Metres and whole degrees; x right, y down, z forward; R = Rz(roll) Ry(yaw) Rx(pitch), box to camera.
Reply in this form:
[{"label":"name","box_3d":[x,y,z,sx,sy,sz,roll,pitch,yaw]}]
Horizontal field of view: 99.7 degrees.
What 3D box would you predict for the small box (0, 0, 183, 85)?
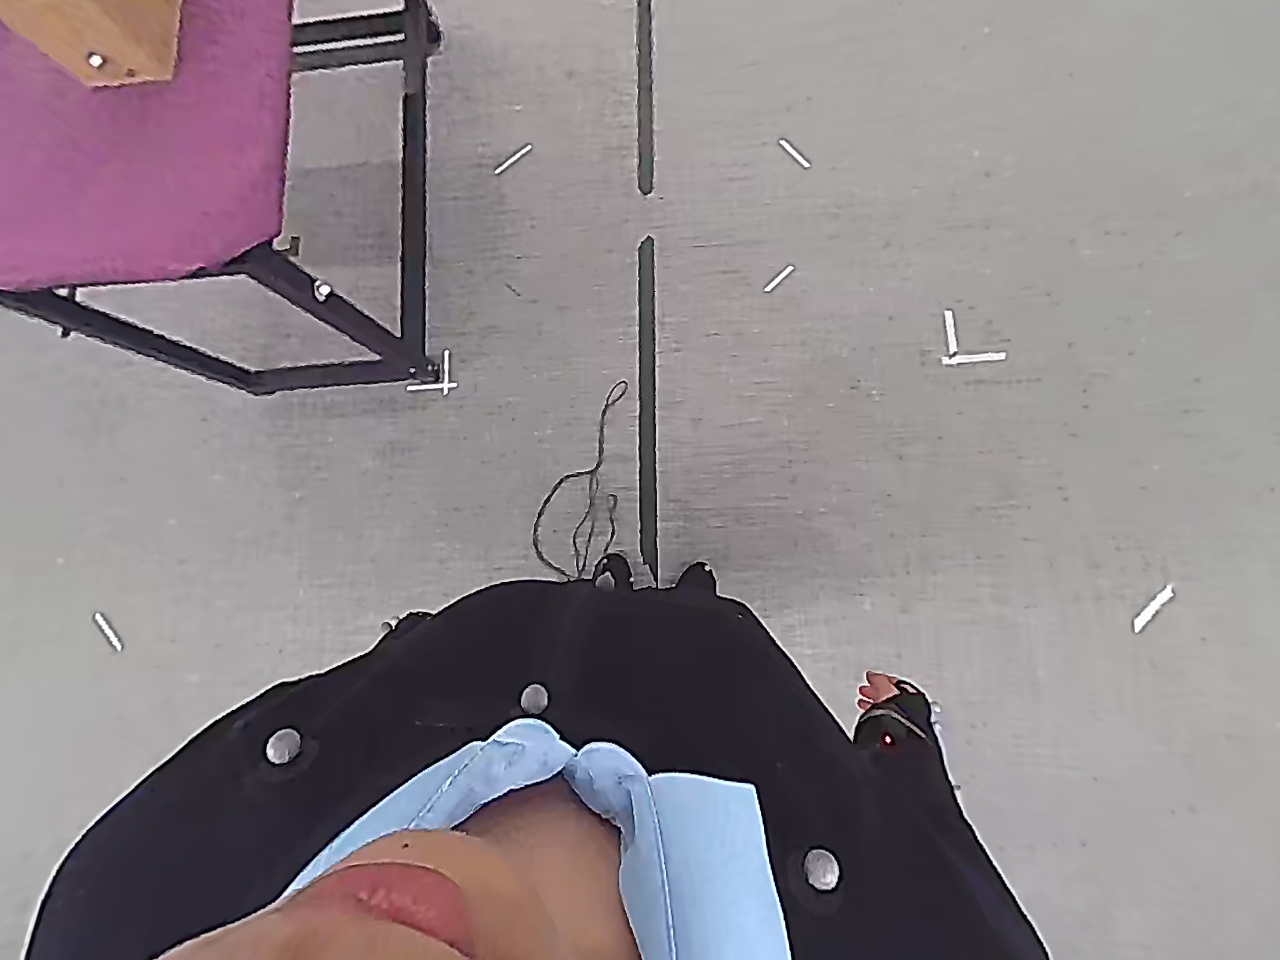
[{"label":"small box","box_3d":[-0.890,-0.787,0.872,0.168,0.176,0.179,-1,83,5]}]
